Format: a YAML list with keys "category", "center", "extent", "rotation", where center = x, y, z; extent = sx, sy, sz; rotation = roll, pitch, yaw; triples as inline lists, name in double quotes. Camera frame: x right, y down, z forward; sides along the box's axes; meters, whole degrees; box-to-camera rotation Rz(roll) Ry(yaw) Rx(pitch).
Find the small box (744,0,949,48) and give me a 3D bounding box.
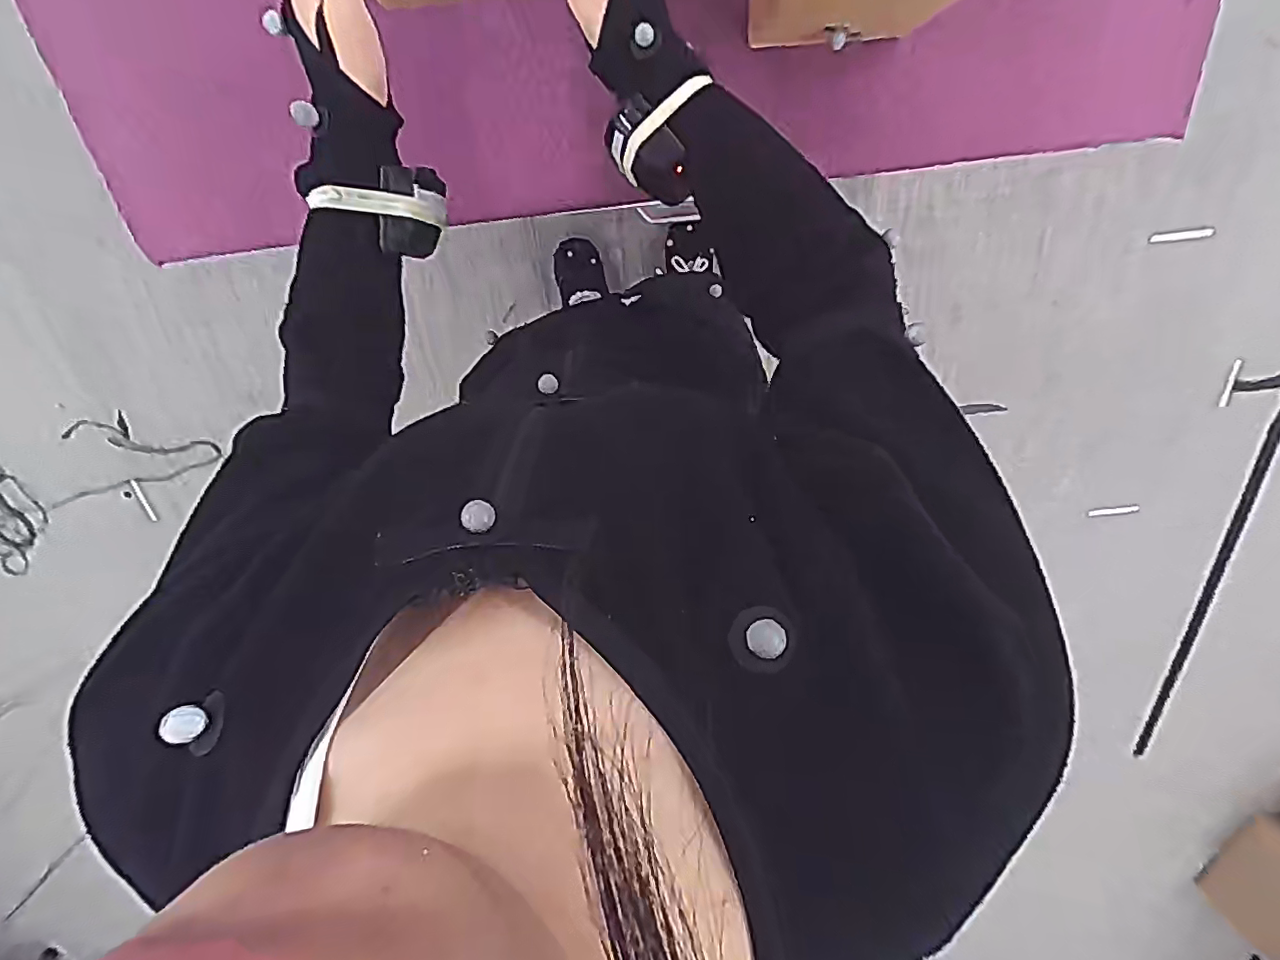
- category: "small box"
  center: [0.187, -0.505, 0.460]
  extent: [0.168, 0.176, 0.179]
  rotation: [-4, 115, 0]
